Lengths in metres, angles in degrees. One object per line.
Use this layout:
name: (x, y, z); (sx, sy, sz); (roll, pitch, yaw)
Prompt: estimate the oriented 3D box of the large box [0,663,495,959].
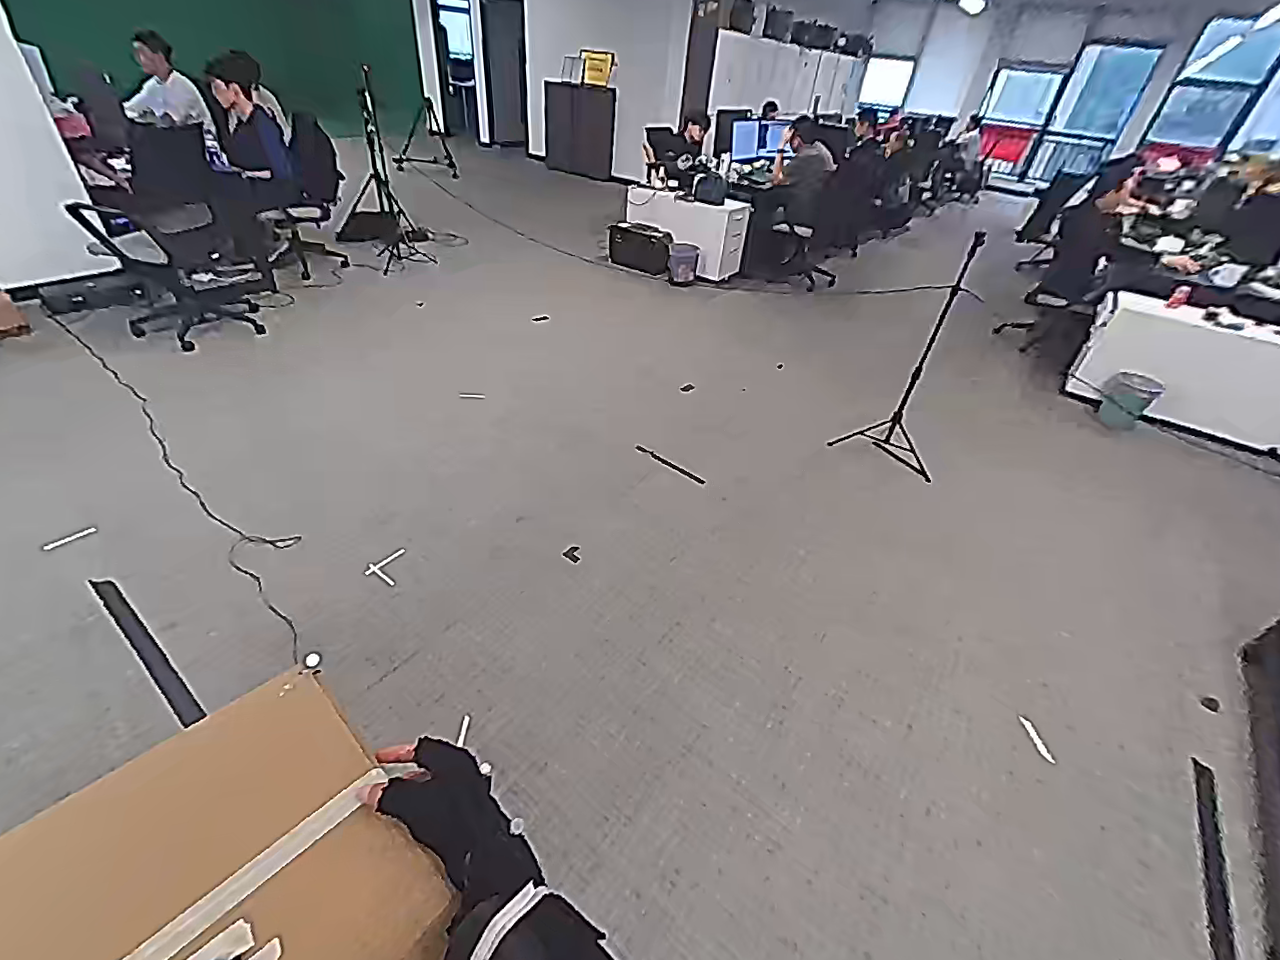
large box: (-0.379, 0.458, 0.462); (0.320, 0.320, 0.408); (36, 45, 26)
